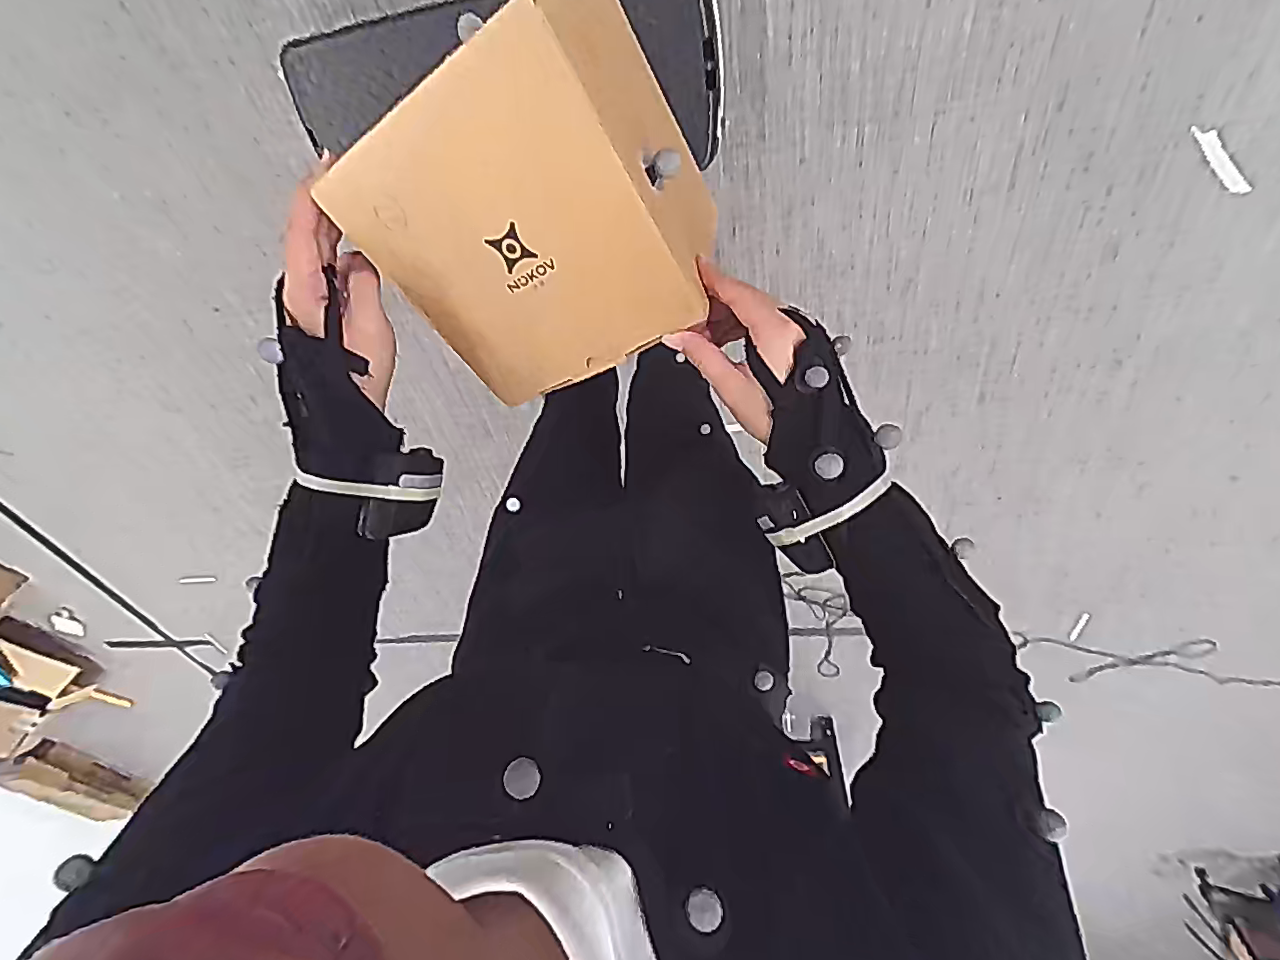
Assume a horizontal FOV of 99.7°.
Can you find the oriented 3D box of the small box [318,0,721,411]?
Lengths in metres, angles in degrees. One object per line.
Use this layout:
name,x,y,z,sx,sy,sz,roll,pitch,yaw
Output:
small box,-0.056,-0.184,0.363,0.168,0.176,0.179,-19,131,27
